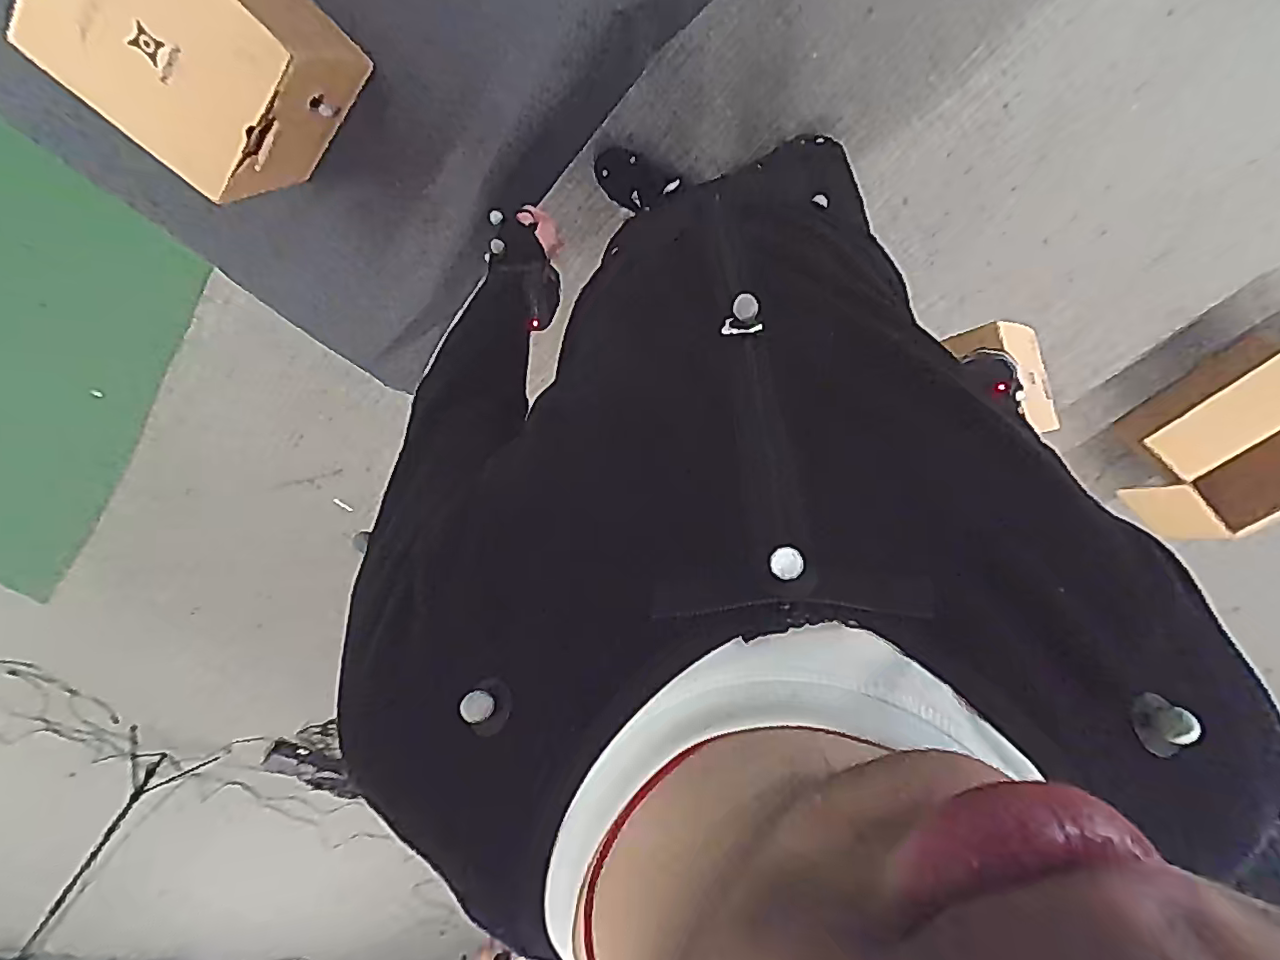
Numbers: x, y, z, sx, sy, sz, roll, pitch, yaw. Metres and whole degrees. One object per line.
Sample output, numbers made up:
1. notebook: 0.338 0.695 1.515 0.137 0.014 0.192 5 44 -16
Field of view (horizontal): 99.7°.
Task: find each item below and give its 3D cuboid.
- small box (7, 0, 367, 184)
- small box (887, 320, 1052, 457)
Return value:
1. small box: -0.400 -0.423 0.510 0.168 0.176 0.179 -38 116 23
2. small box: 0.510 -0.135 0.852 0.179 0.168 0.176 -8 175 -42
